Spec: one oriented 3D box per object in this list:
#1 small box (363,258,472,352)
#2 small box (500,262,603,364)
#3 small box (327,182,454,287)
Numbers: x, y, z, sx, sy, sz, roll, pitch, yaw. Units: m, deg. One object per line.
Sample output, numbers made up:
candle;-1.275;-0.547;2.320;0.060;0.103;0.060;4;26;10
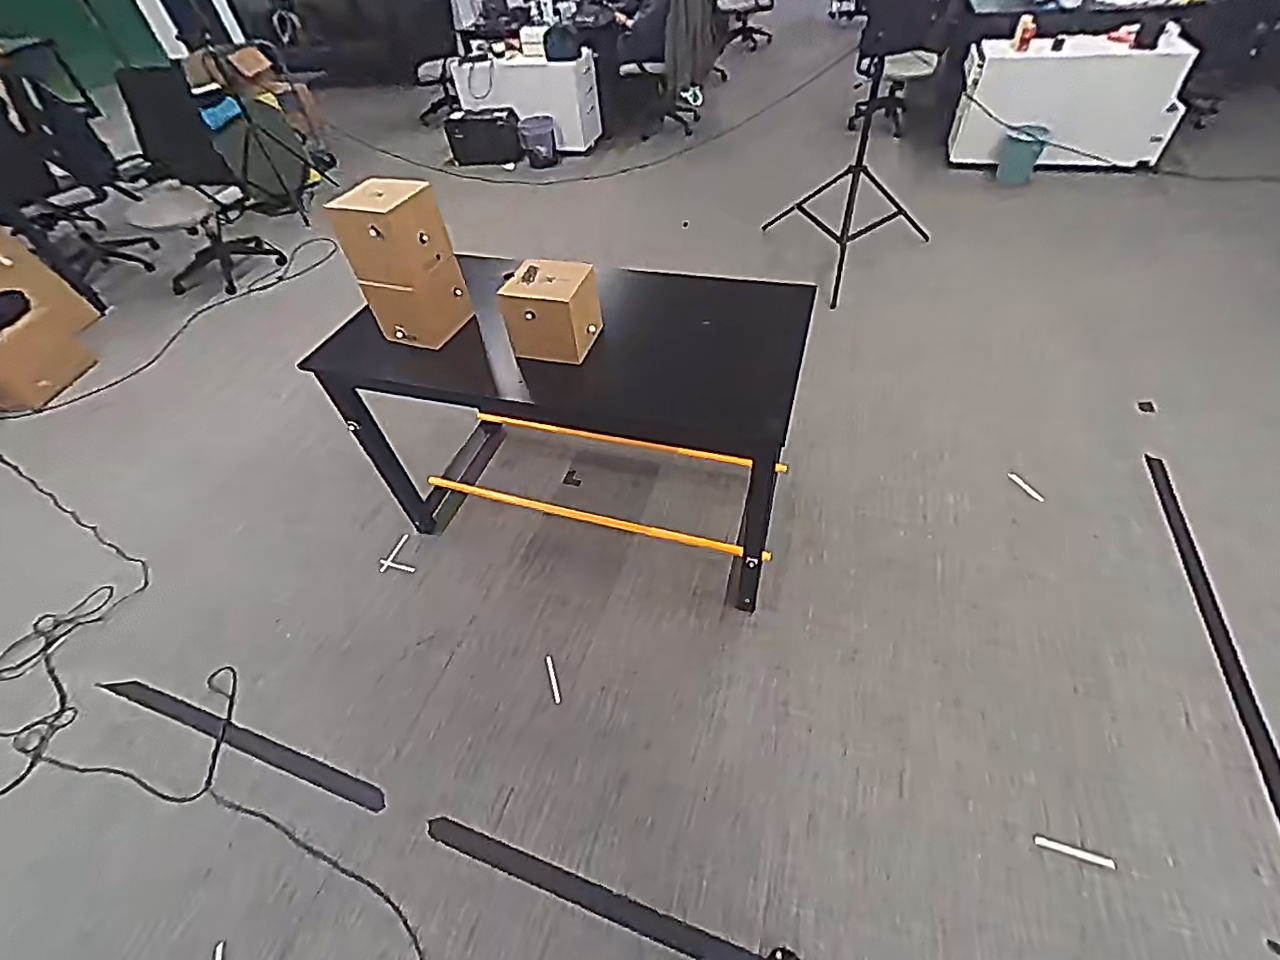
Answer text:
small box;-0.548;-0.451;1.369;0.168;0.176;0.179;13;52;18
small box;-0.200;-0.393;1.279;0.179;0.176;0.168;11;51;14
small box;-0.564;-0.566;1.251;0.179;0.176;0.168;13;51;18
